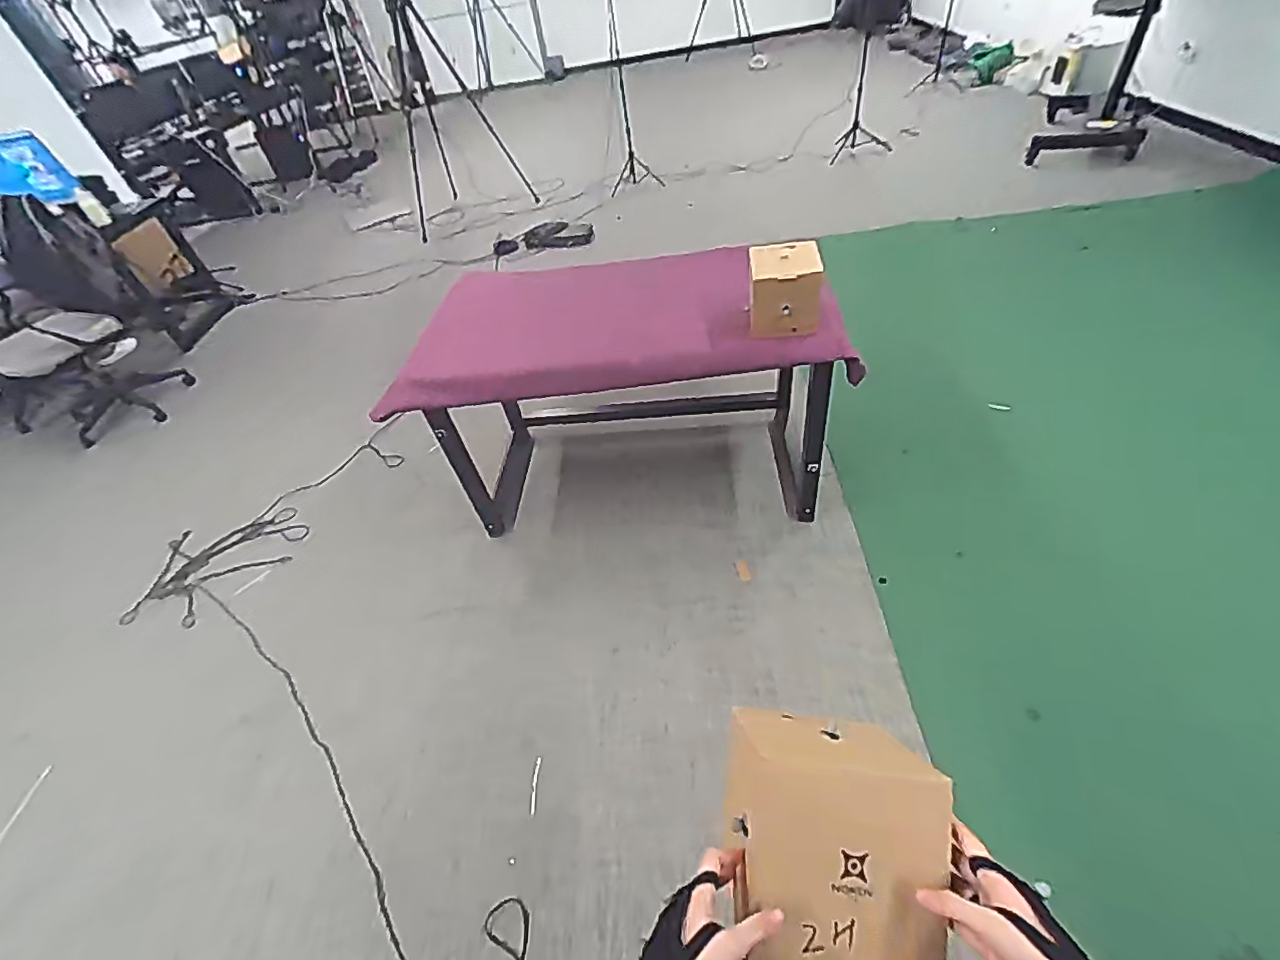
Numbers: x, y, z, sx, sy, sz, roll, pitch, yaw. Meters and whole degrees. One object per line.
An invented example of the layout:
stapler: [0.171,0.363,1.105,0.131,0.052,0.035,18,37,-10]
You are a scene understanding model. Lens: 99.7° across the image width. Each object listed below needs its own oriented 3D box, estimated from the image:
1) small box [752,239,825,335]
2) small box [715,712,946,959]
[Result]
small box: [0.372,-0.484,1.376,0.168,0.176,0.179,-2,48,11]
small box: [0.172,0.345,0.534,0.168,0.176,0.179,7,82,1]
